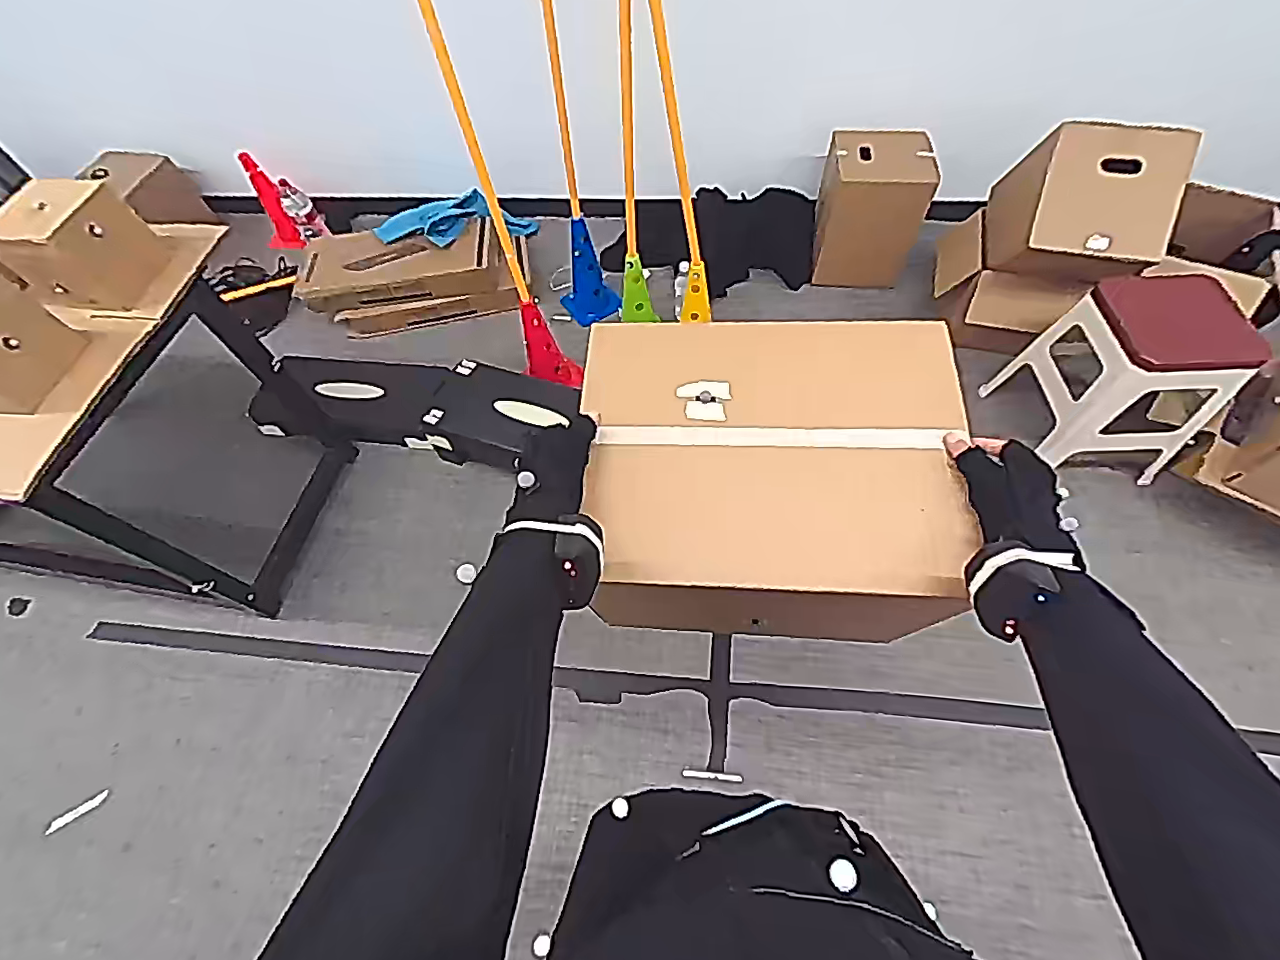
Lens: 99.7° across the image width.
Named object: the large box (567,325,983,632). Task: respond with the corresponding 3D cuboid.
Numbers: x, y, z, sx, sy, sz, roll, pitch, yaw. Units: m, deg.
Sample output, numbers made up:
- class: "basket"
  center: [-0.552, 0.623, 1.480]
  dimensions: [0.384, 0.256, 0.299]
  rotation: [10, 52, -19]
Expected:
- class: "large box"
  center: [0.150, 0.020, 0.716]
  dimensions: [0.408, 0.320, 0.320]
  rotation: [1, 66, 8]
